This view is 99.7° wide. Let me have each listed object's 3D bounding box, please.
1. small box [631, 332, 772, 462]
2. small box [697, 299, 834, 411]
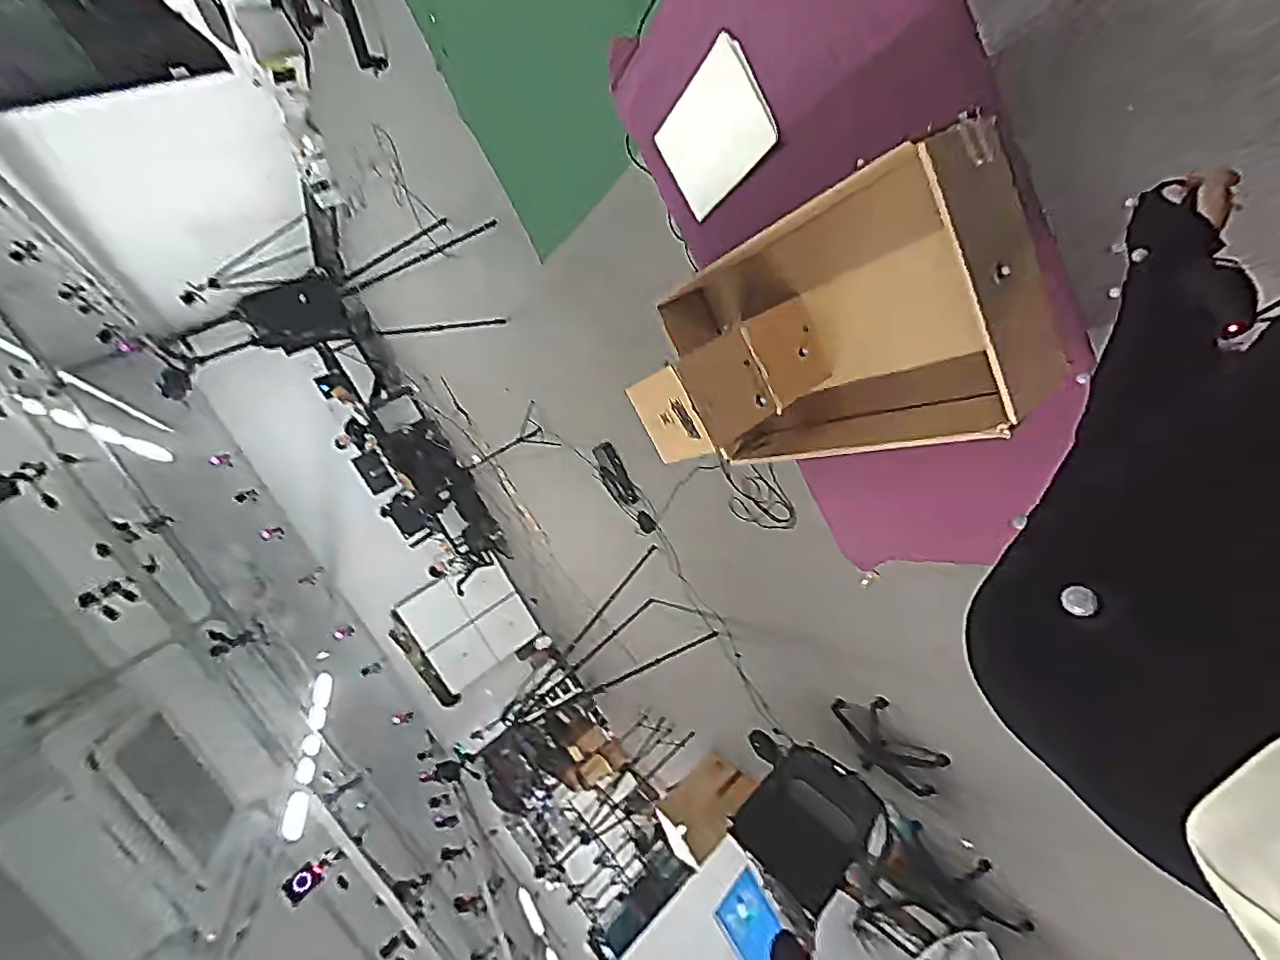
[{"bbox_3d":[0.120,-0.153,1.009,0.168,0.176,0.179,62,153,-8],"label":"small box"},{"bbox_3d":[0.247,-0.233,1.076,0.179,0.176,0.168,-12,109,61],"label":"small box"}]
